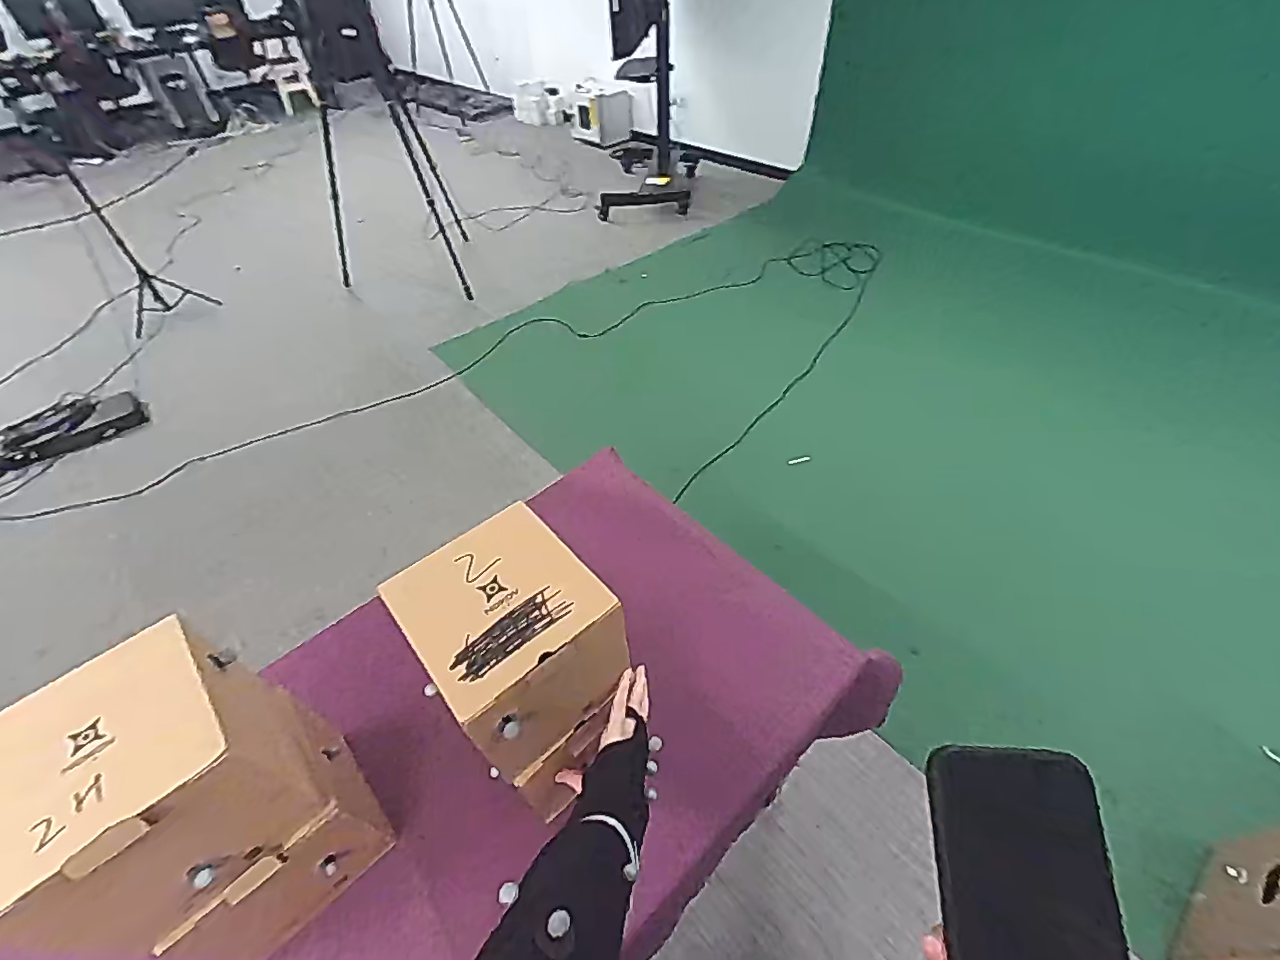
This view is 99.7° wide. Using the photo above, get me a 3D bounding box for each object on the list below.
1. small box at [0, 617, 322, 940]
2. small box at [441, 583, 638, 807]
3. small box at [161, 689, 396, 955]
[{"bbox_3d":[-0.431,0.268,0.490,0.168,0.176,0.179,-36,54,-26],"label":"small box"},{"bbox_3d":[-0.119,0.274,0.688,0.168,0.176,0.179,-36,55,-26],"label":"small box"},{"bbox_3d":[-0.409,0.381,0.609,0.168,0.176,0.179,-35,54,-26],"label":"small box"}]
